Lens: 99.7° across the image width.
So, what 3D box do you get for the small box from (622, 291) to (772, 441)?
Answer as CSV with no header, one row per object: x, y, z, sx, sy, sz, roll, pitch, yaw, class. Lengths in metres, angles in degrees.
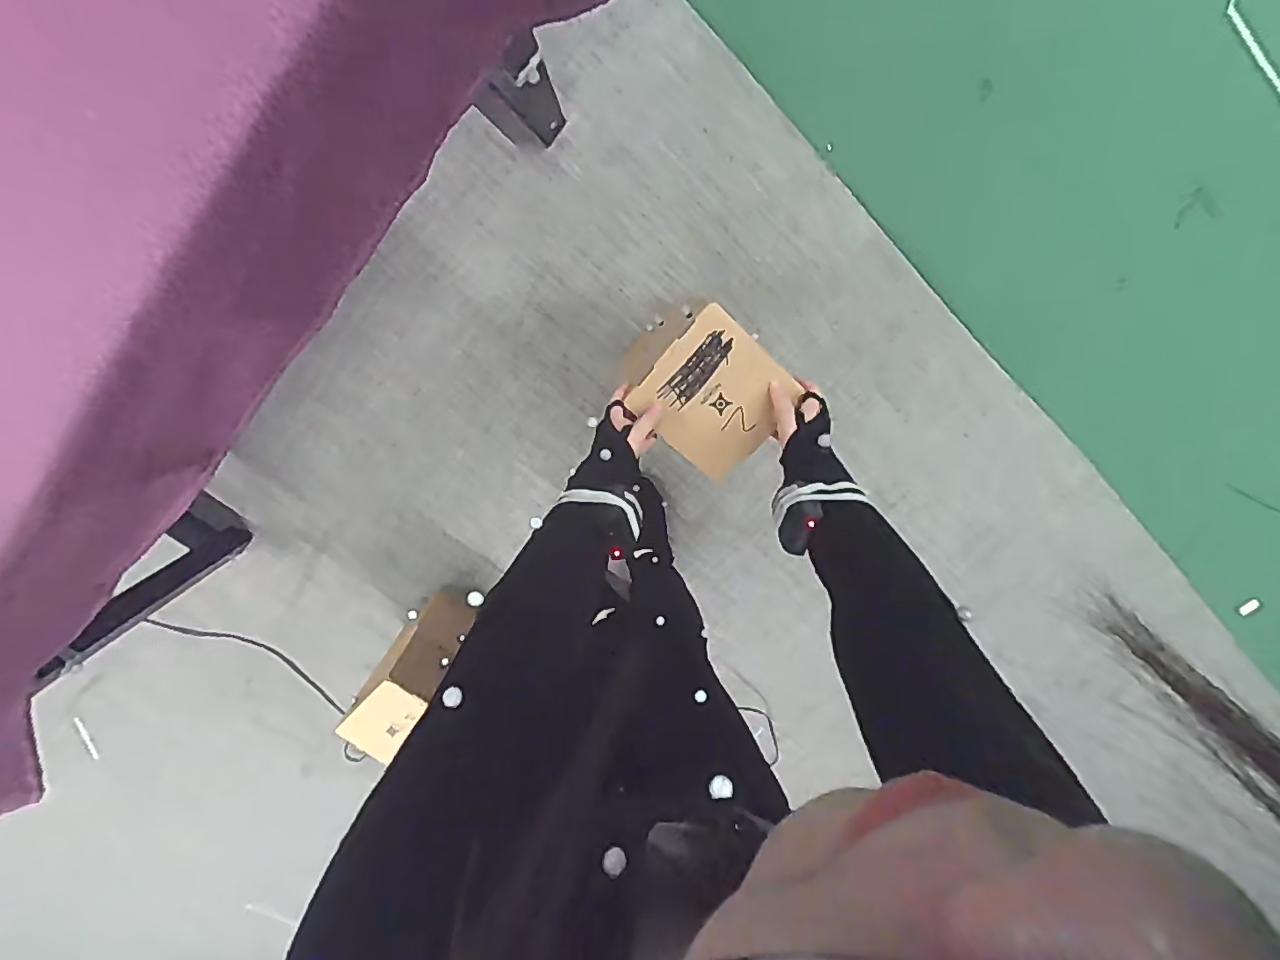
0.086,-0.198,0.911,0.179,0.176,0.168,41,102,-14,small box
